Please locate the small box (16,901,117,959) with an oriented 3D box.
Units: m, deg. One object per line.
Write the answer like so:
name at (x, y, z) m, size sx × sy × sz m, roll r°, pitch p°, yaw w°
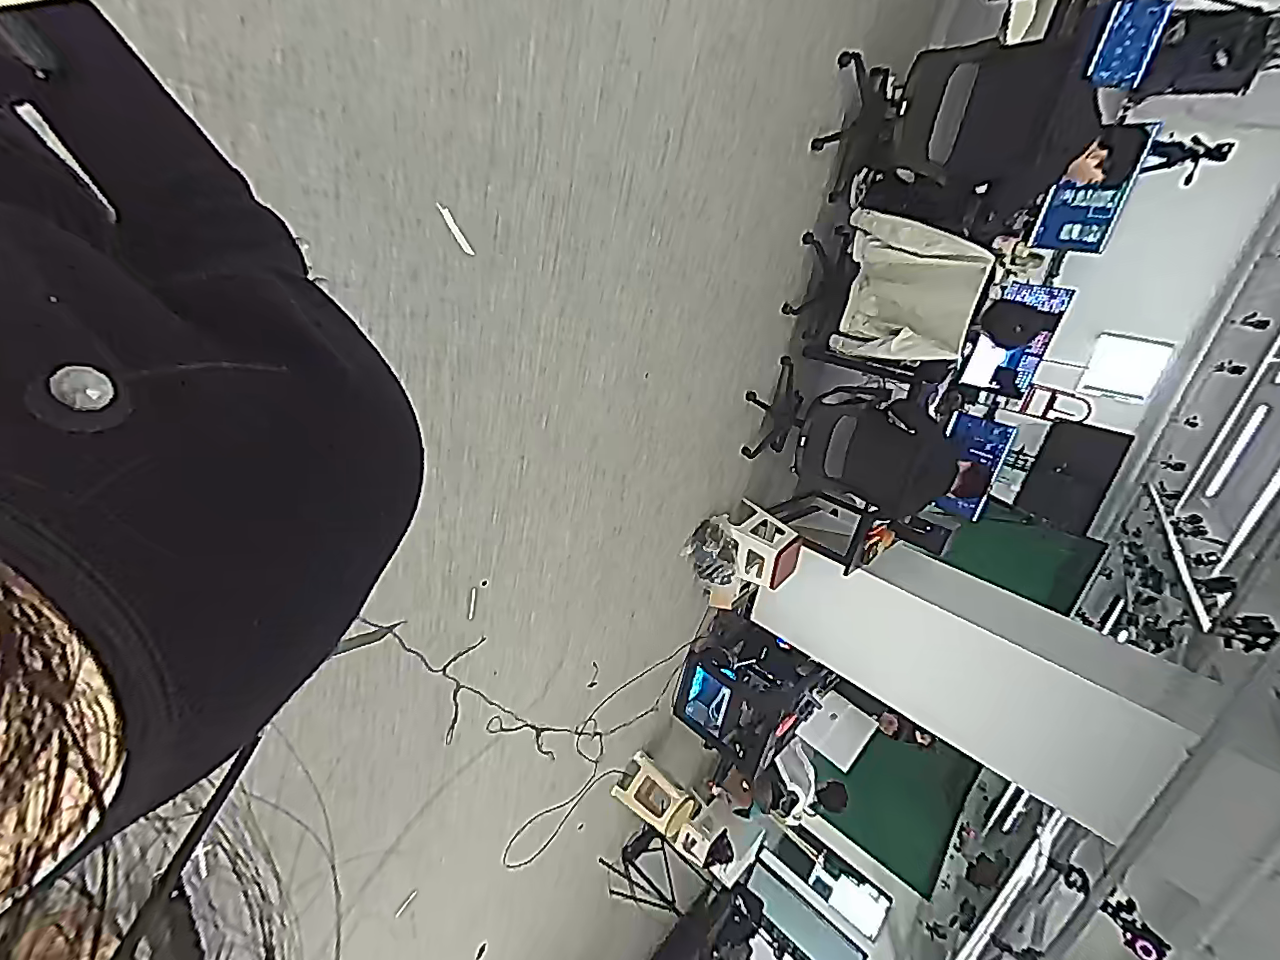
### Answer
small box at (-1.470, 1.251, 1.393) m, size 0.168 × 0.176 × 0.179 m, roll -10°, pitch 120°, yaw -49°
